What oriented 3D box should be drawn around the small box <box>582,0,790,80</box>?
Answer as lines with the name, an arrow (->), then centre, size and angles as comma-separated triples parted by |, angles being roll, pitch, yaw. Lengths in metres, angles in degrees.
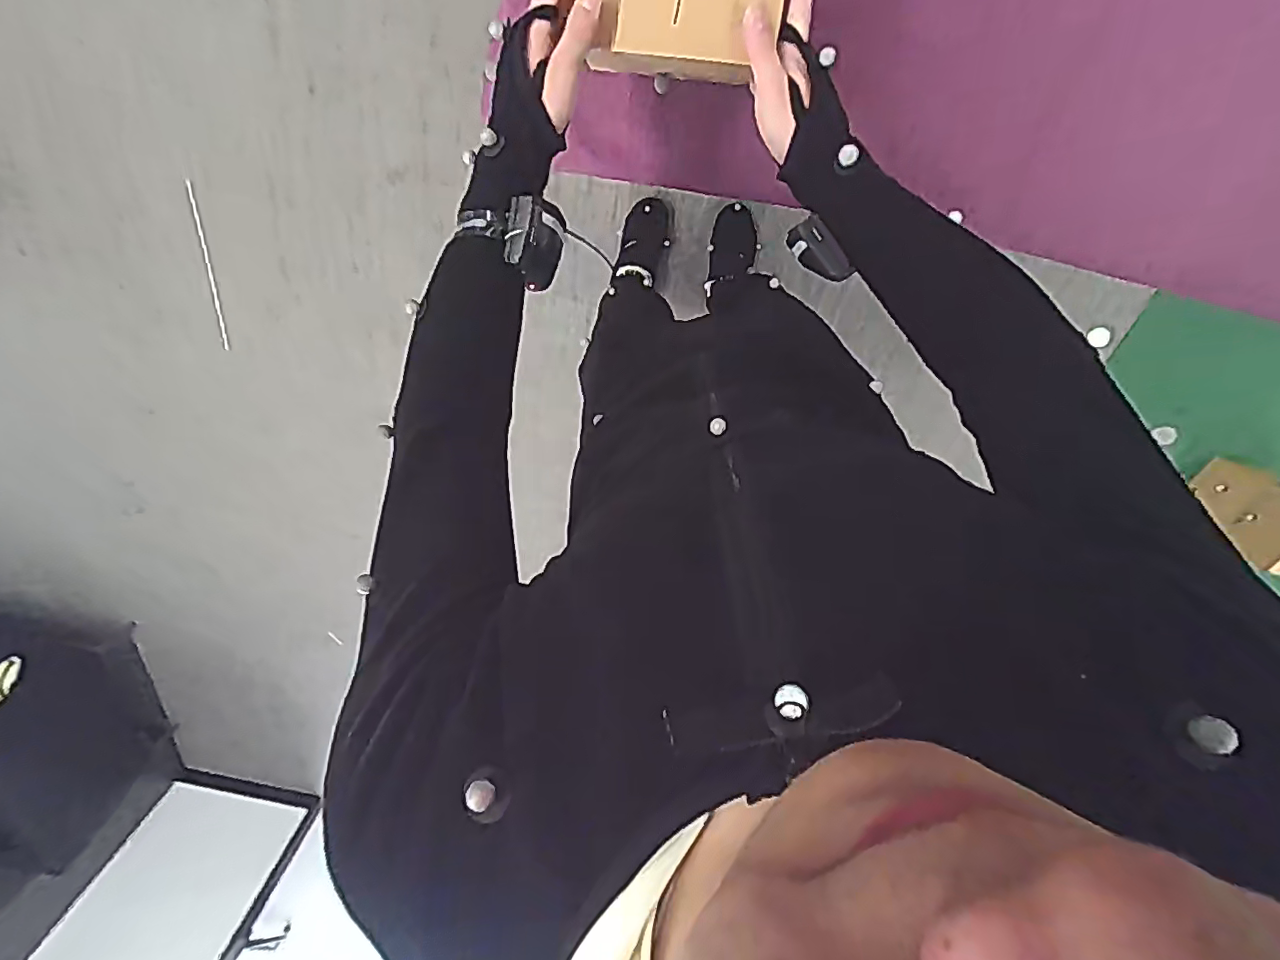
small box -> 0.040, -0.465, 0.462 | 0.168, 0.176, 0.179 | 4, 123, -3

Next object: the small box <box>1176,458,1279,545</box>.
small box -> 1.700, 0.055, 1.528 | 0.179, 0.176, 0.168 | 13, 121, -2
